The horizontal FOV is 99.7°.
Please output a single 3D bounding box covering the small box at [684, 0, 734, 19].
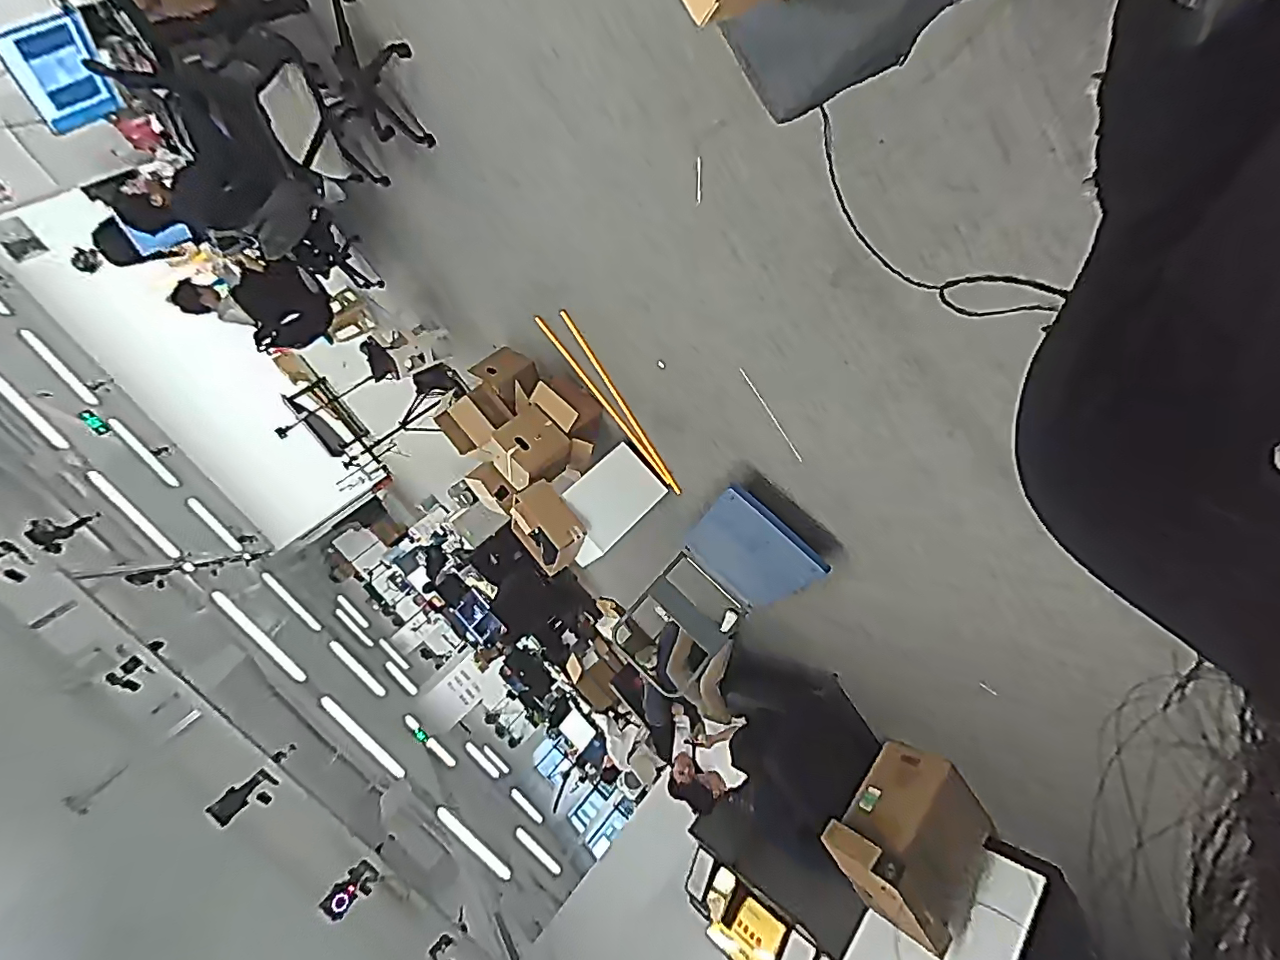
[{"bbox_3d":[0.104,-0.606,0.517,0.179,0.176,0.168,52,154,-11],"label":"small box"}]
